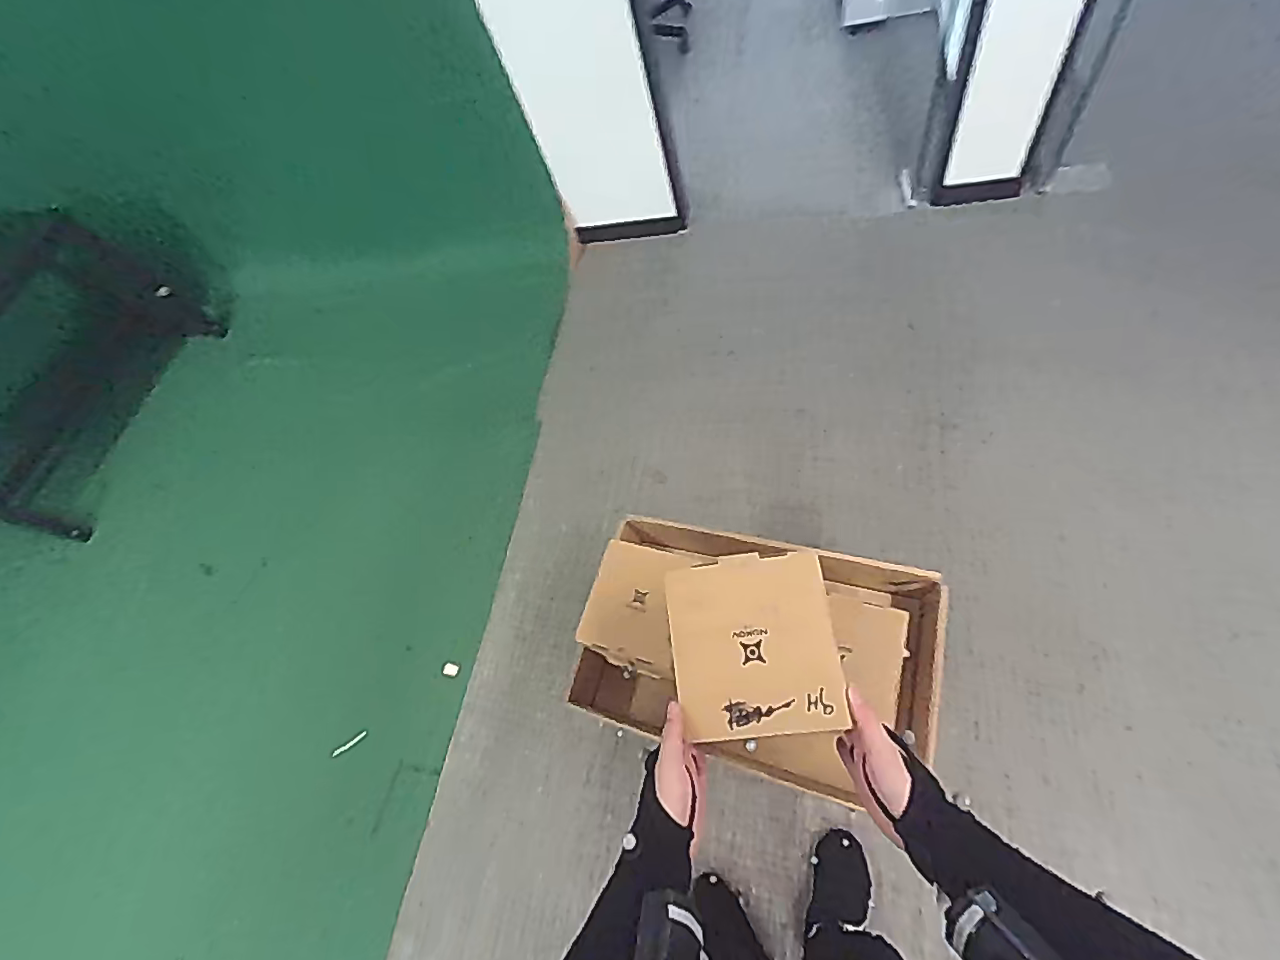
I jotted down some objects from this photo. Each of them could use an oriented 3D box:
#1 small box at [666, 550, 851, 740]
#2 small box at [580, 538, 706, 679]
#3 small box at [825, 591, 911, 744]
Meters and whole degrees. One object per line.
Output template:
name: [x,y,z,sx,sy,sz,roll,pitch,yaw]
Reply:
small box: [0.126,0.192,0.622,0.168,0.176,0.179,-9,69,8]
small box: [0.024,0.224,0.920,0.168,0.176,0.179,12,68,21]
small box: [0.293,0.278,0.811,0.168,0.176,0.179,11,69,22]
